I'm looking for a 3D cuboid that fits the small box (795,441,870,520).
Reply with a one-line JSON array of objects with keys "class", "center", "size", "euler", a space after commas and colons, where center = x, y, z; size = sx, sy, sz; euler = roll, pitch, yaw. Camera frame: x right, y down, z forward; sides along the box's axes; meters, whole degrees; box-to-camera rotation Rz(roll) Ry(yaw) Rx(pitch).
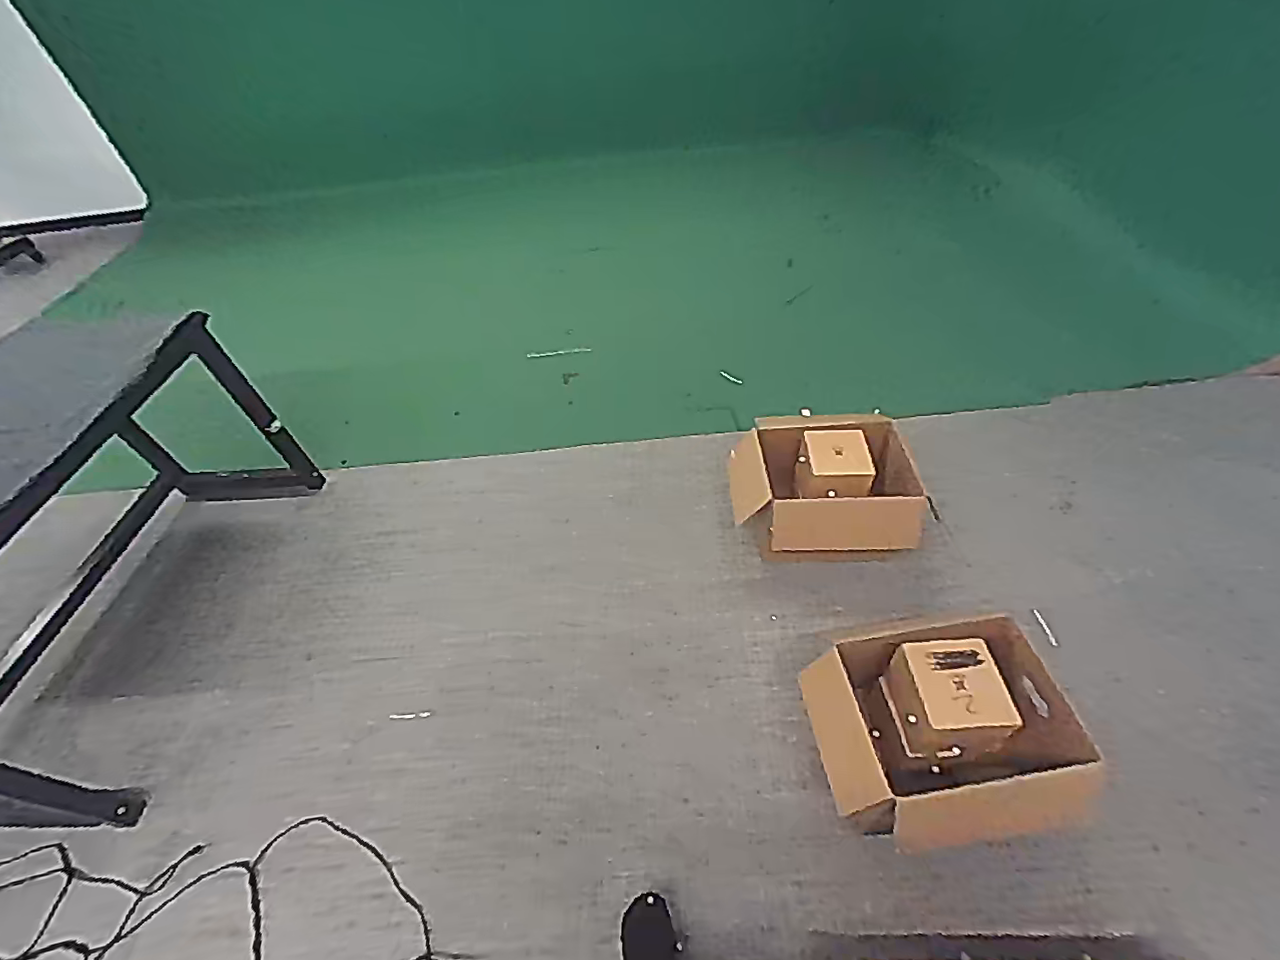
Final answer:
[{"class": "small box", "center": [0.559, 0.005, 1.593], "size": [0.168, 0.176, 0.179], "euler": [-1, 48, 5]}]
